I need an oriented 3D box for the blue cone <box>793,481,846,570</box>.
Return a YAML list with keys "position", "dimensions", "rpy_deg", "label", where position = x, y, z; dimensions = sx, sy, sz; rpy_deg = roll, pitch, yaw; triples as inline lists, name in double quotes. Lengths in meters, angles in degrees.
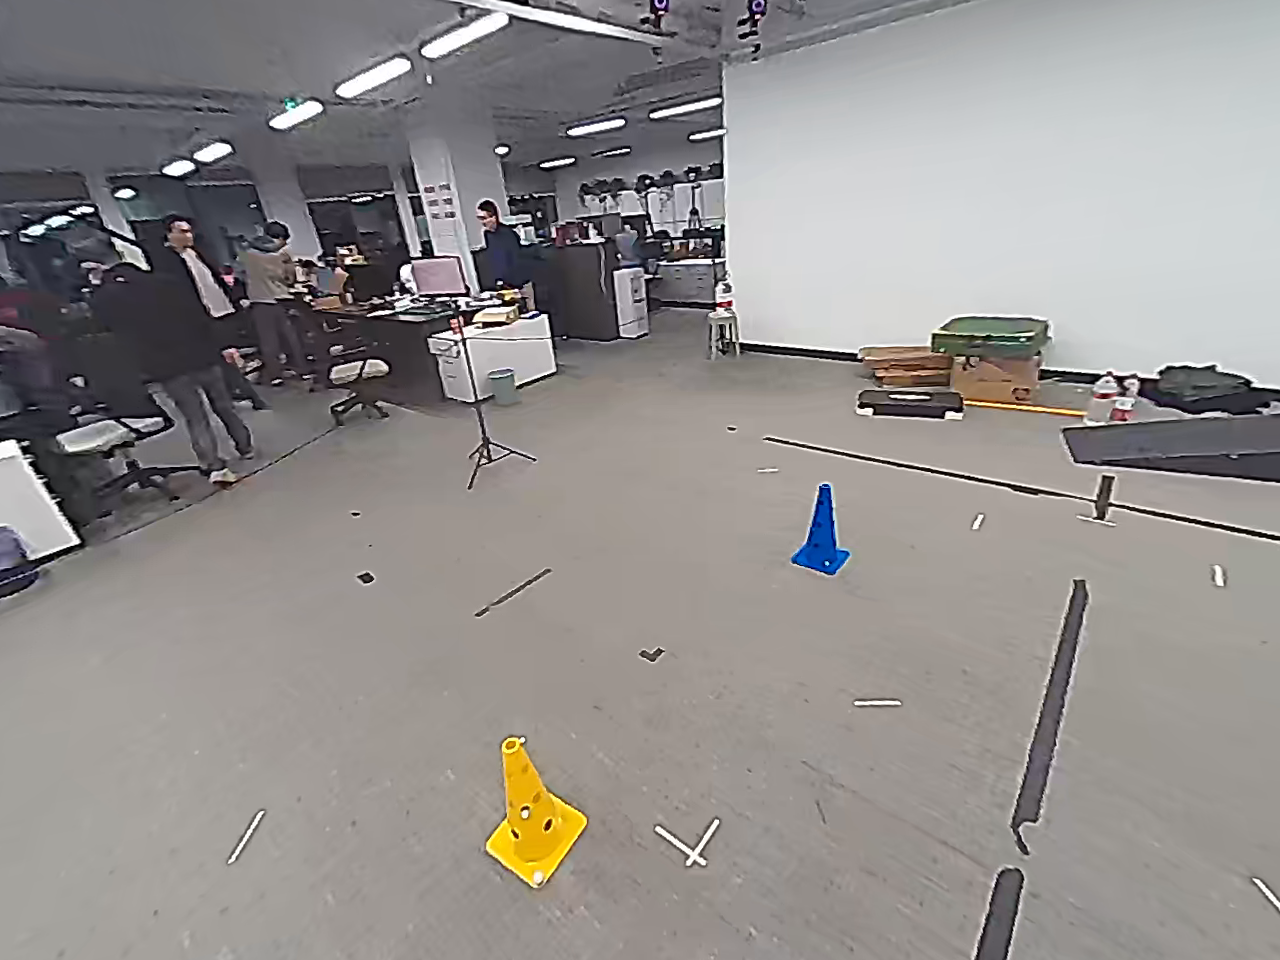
- position: [0.770, 0.181, 2.291]
  dimensions: [0.192, 0.380, 0.193]
  rpy_deg: [16, 34, 39]
  label: "blue cone"
